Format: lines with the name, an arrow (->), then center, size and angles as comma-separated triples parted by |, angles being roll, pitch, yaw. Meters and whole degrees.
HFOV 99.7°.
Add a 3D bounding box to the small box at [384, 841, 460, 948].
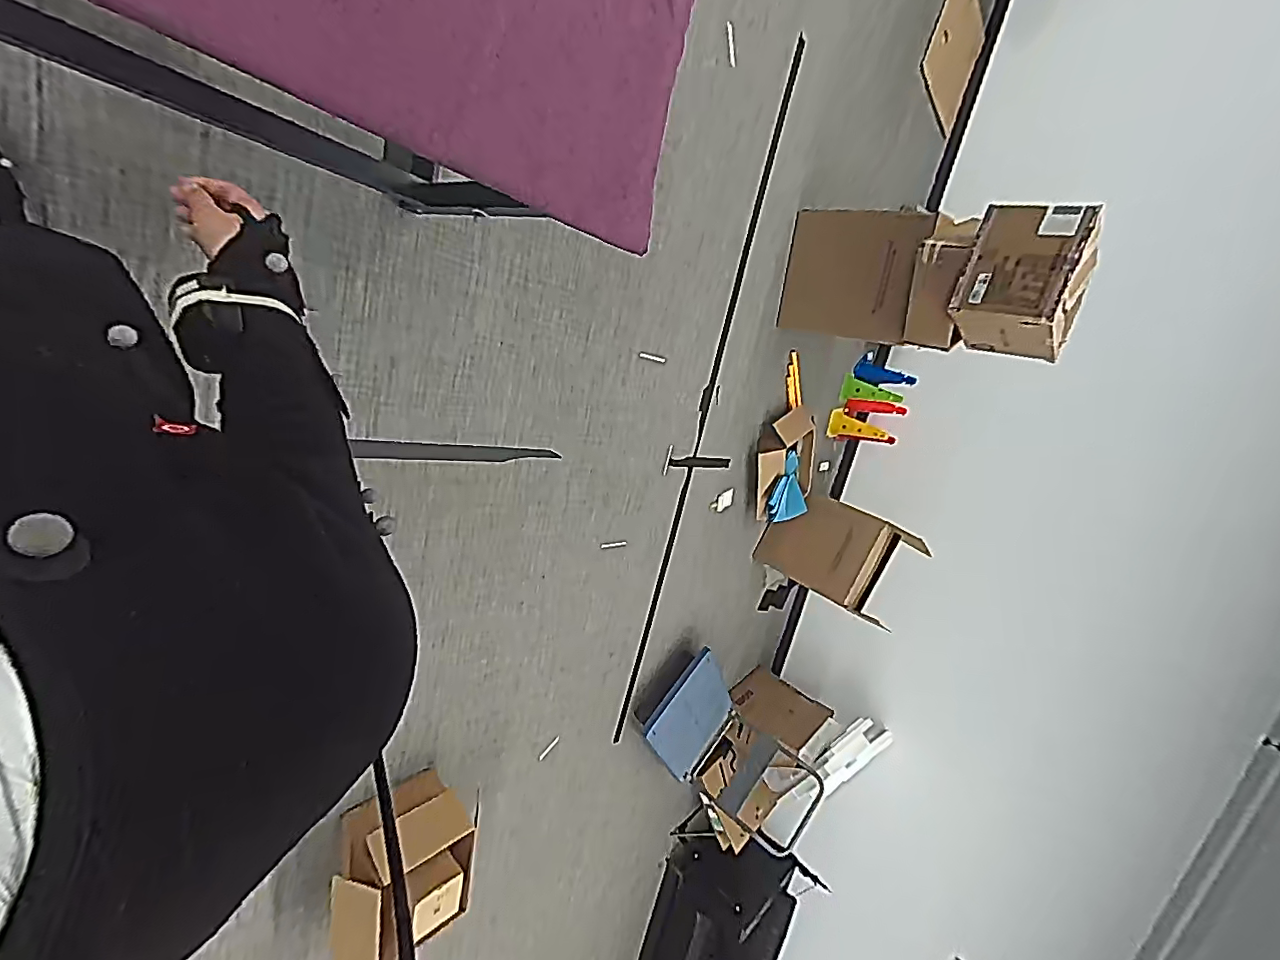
small box -> -0.708, 1.327, 1.743 | 0.168, 0.176, 0.179 | -6, 113, -49
